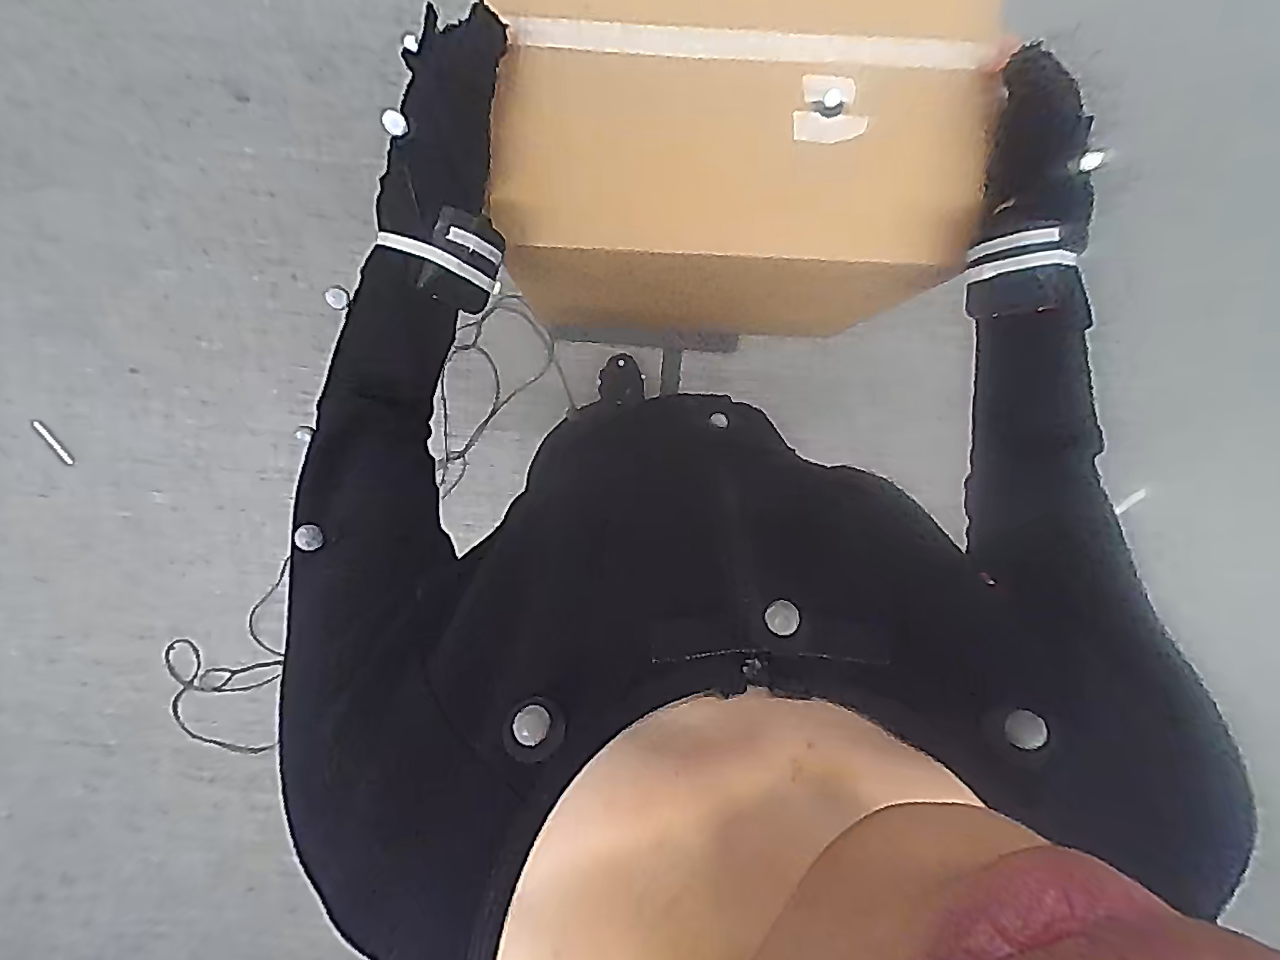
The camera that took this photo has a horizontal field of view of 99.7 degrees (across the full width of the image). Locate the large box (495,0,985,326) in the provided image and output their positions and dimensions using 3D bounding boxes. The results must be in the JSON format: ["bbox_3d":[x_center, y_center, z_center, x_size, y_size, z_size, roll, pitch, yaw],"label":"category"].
[{"bbox_3d":[0.075,-0.358,0.587,0.408,0.320,0.320,2,95,-2],"label":"large box"}]
